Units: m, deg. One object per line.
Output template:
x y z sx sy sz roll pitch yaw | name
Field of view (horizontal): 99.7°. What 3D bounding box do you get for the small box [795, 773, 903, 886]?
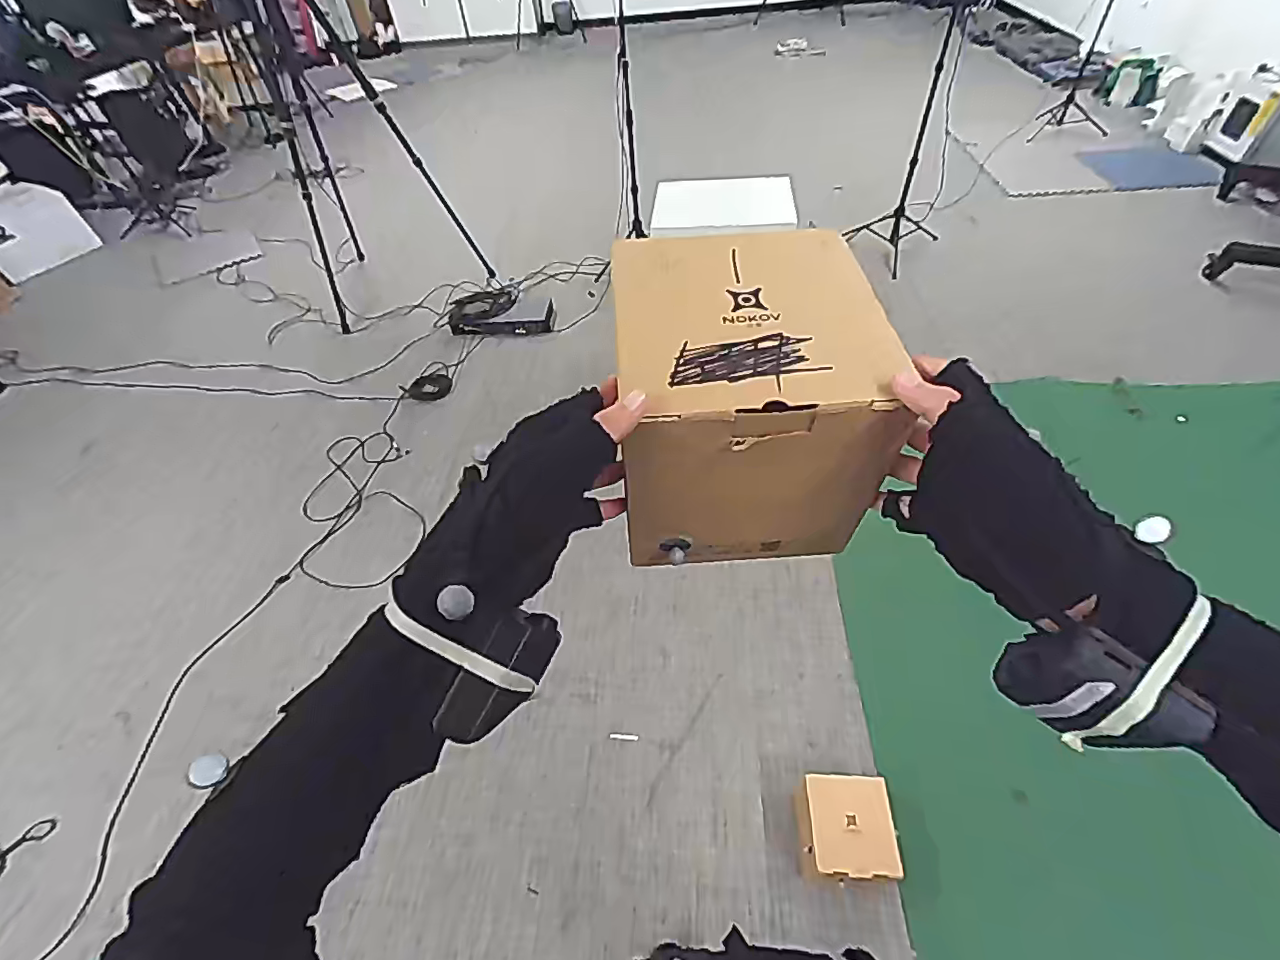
0.433 0.747 1.155 0.168 0.176 0.179 0 49 6 | small box
